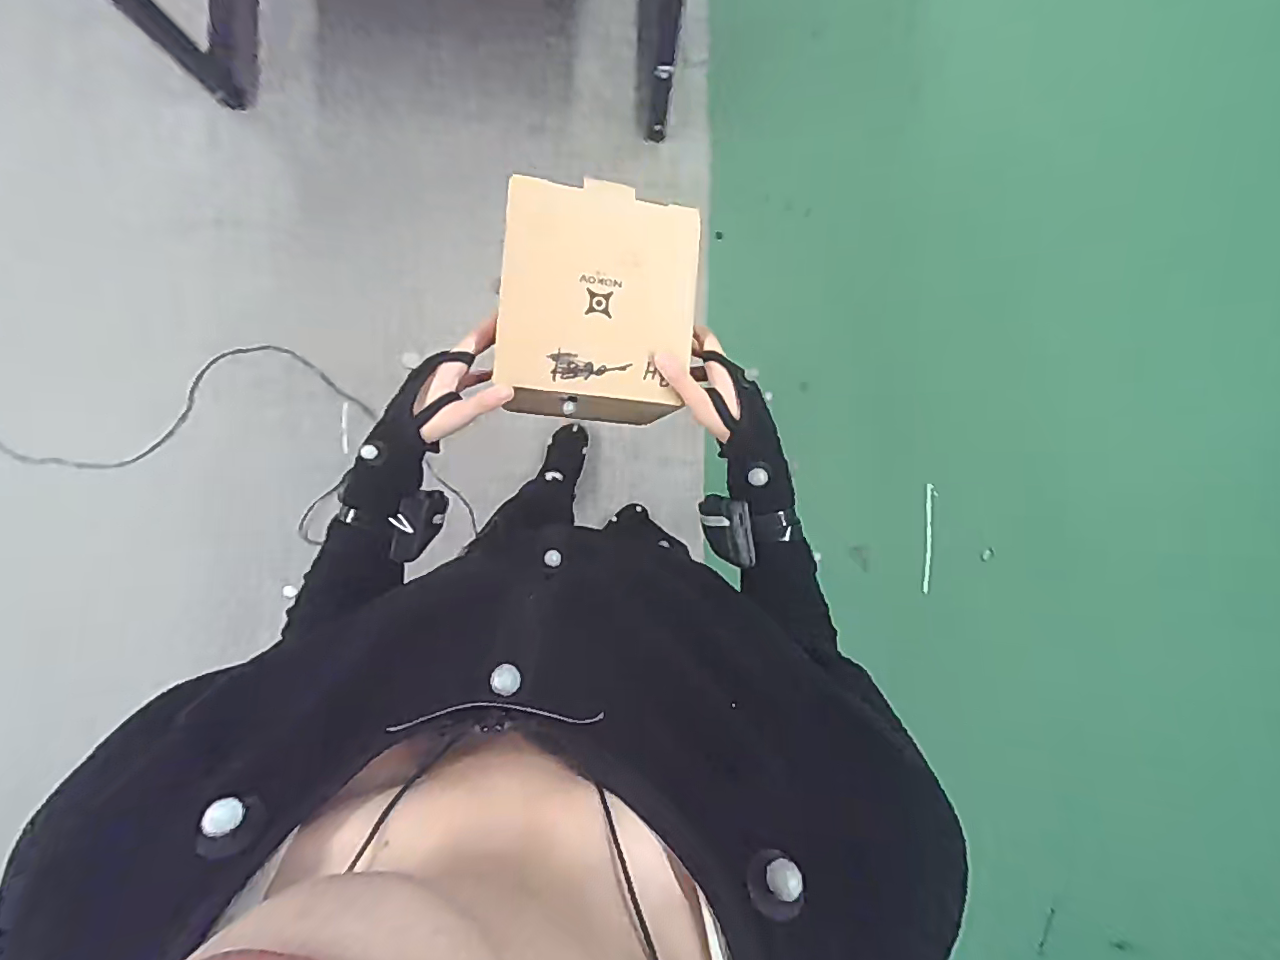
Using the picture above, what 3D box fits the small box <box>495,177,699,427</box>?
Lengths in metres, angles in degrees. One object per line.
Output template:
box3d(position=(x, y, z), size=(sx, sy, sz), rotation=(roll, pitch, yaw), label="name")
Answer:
box3d(position=(-0.049, -0.156, 0.536), size=(0.168, 0.176, 0.179), rotation=(5, 88, -11), label="small box")
